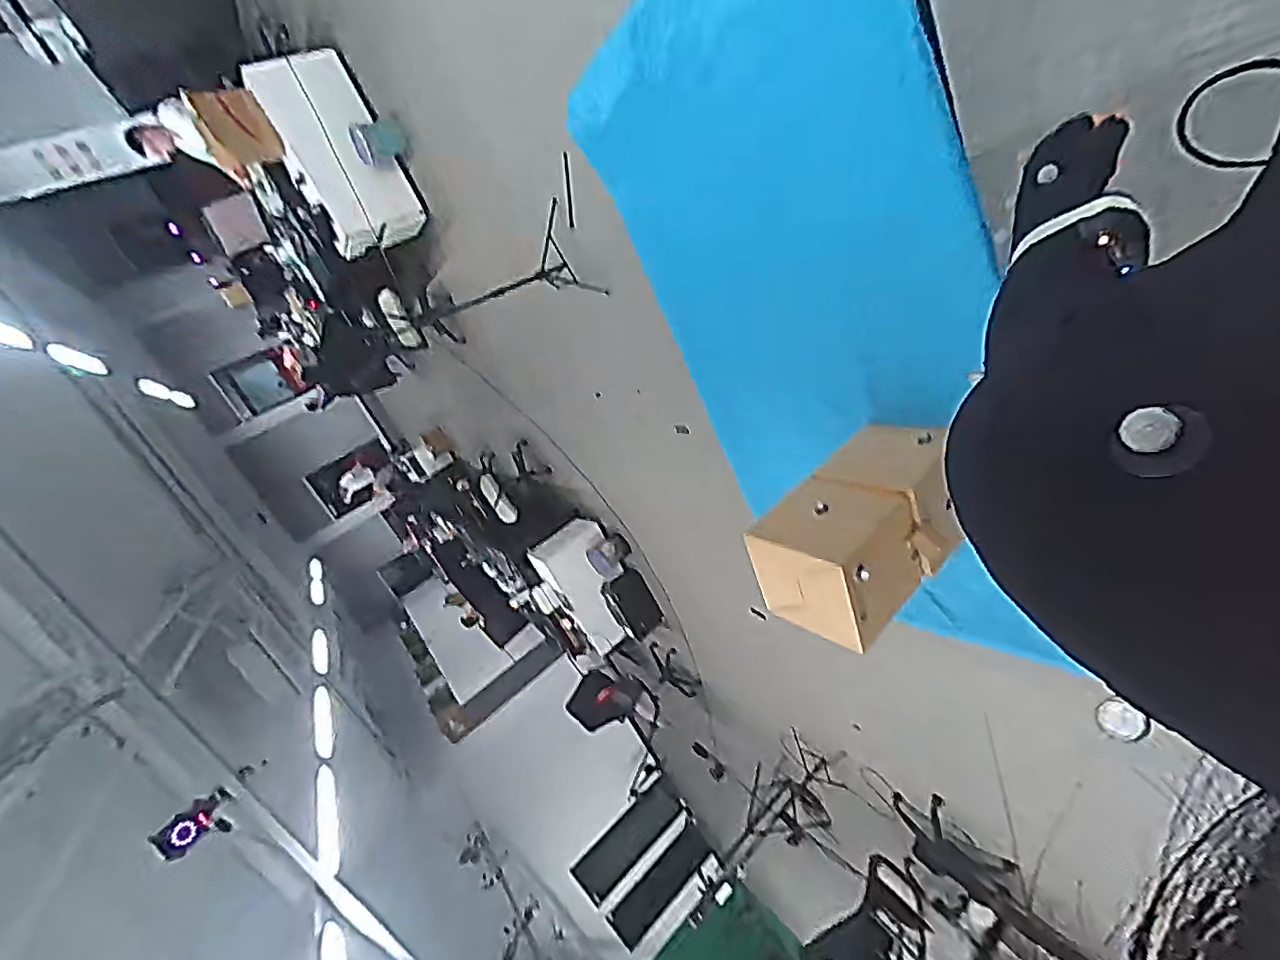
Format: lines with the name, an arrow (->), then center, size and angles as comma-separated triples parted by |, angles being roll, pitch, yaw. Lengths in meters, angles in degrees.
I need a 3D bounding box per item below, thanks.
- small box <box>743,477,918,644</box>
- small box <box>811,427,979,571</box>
small box -> 0.292, 0.119, 0.831 | 0.179, 0.176, 0.168 | 15, 134, 51
small box -> 0.416, 0.026, 0.889 | 0.179, 0.176, 0.168 | 11, 131, 55
